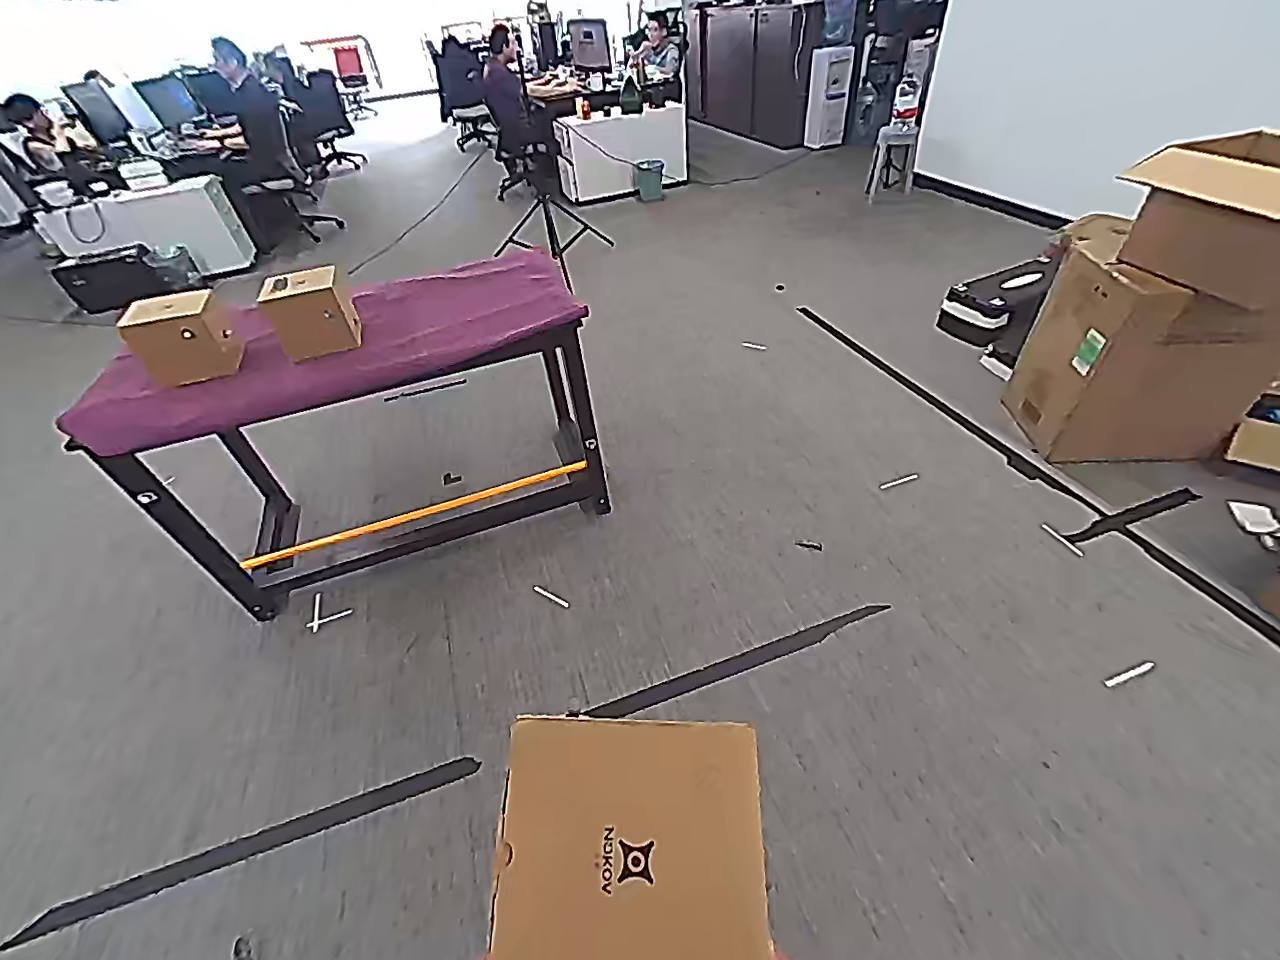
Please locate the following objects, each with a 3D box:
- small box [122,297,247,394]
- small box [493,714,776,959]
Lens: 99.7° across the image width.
[{"bbox_3d":[-1.144,-0.343,1.378,0.179,0.176,0.168,-17,42,-15],"label":"small box"},{"bbox_3d":[0.002,0.278,0.425,0.179,0.176,0.168,0,64,4],"label":"small box"}]
